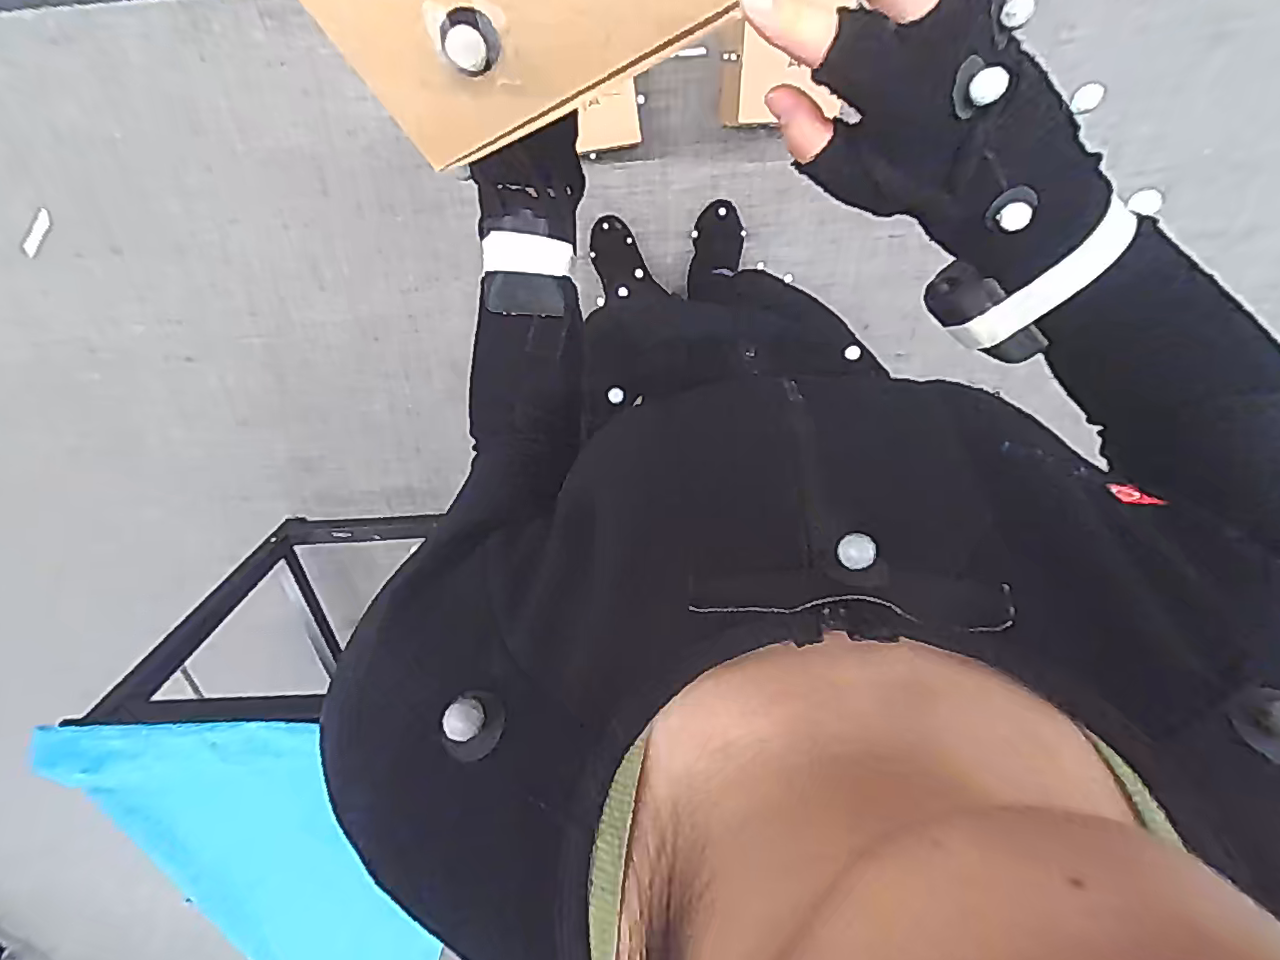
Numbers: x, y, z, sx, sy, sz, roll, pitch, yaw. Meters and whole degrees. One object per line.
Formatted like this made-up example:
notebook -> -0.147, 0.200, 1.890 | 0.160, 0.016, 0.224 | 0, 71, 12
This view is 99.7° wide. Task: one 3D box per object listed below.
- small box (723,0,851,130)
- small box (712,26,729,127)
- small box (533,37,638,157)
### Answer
small box -> 0.237, -0.706, 0.919 | 0.168, 0.176, 0.179 | 1, 122, 1
small box -> 0.245, -0.792, 1.057 | 0.179, 0.176, 0.168 | 0, 120, -1
small box -> -0.099, -0.752, 1.079 | 0.179, 0.176, 0.168 | -7, 120, 4
